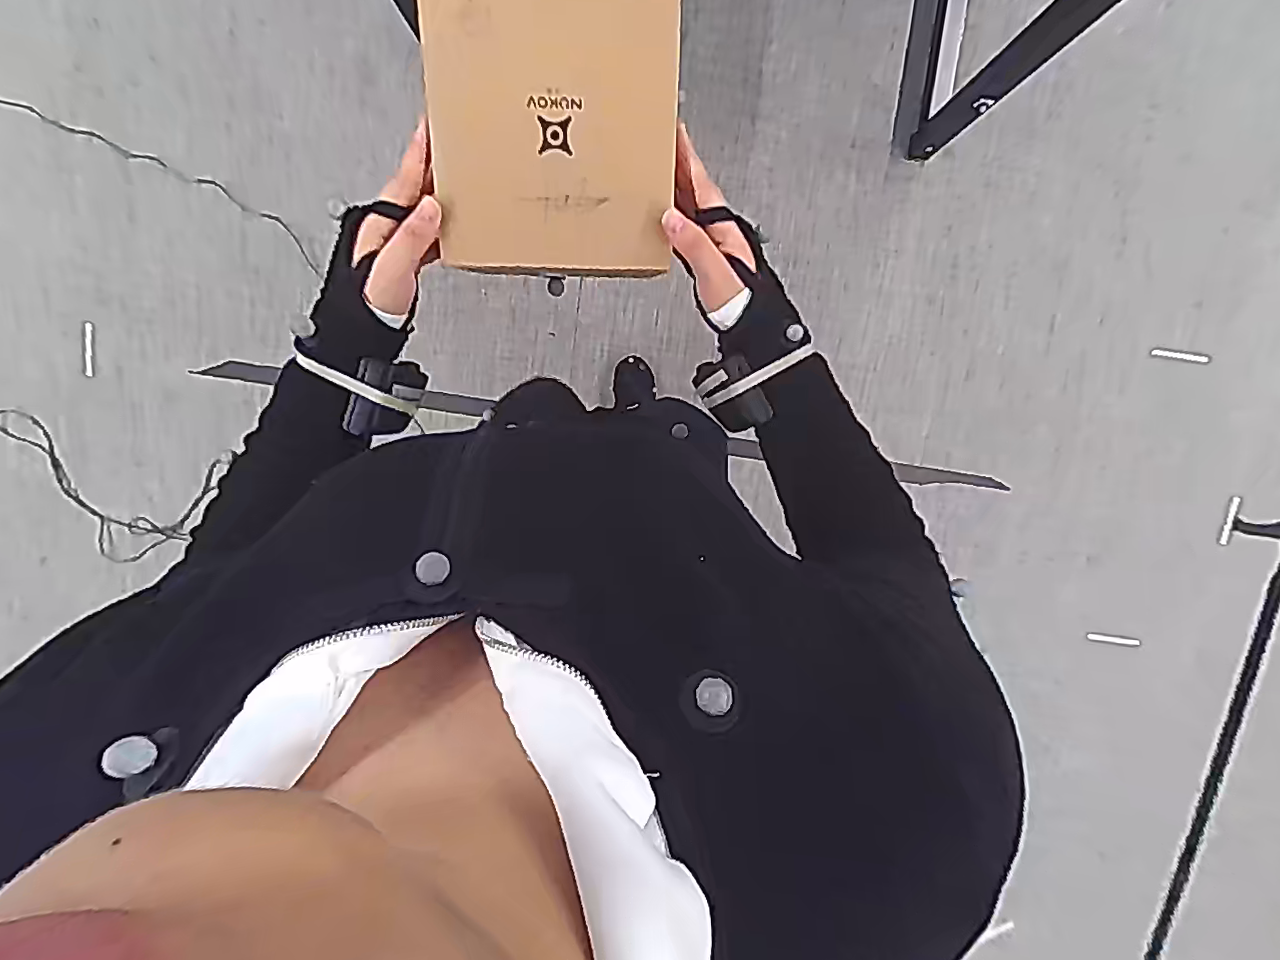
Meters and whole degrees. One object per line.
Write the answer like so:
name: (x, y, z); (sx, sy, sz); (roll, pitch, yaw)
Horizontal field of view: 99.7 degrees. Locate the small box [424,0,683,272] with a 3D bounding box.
small box: (-0.062, -0.268, 0.435); (0.168, 0.176, 0.179); (0, 108, -4)
